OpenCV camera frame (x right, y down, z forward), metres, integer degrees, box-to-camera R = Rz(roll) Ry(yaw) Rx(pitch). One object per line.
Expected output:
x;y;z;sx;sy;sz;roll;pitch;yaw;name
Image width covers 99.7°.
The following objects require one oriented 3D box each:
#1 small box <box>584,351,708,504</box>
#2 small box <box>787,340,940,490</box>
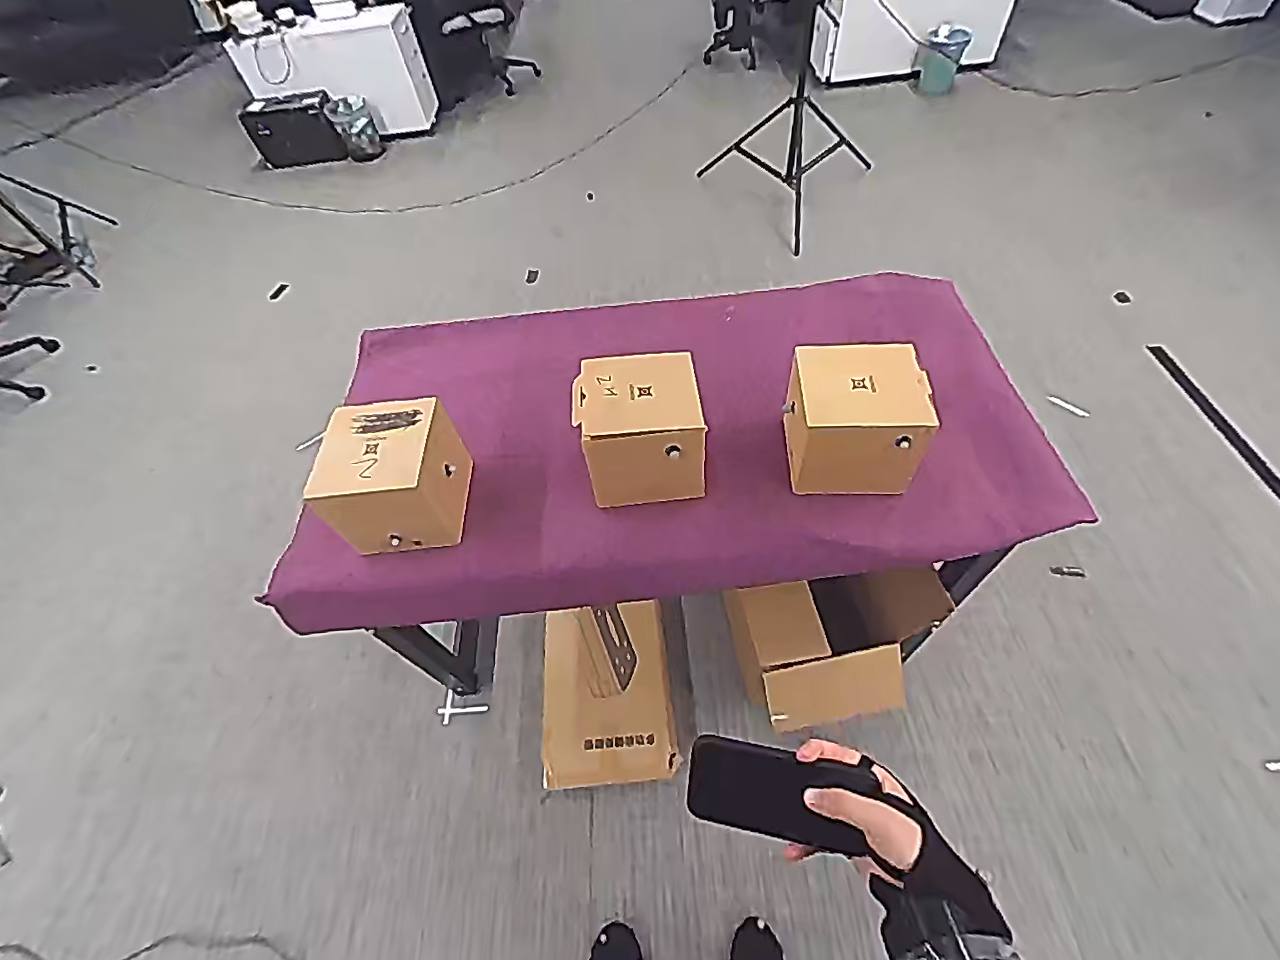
0.009;-0.080;0.860;0.179;0.176;0.168;-7;52;2;small box
0.327;-0.095;0.837;0.179;0.176;0.168;-1;54;6;small box
